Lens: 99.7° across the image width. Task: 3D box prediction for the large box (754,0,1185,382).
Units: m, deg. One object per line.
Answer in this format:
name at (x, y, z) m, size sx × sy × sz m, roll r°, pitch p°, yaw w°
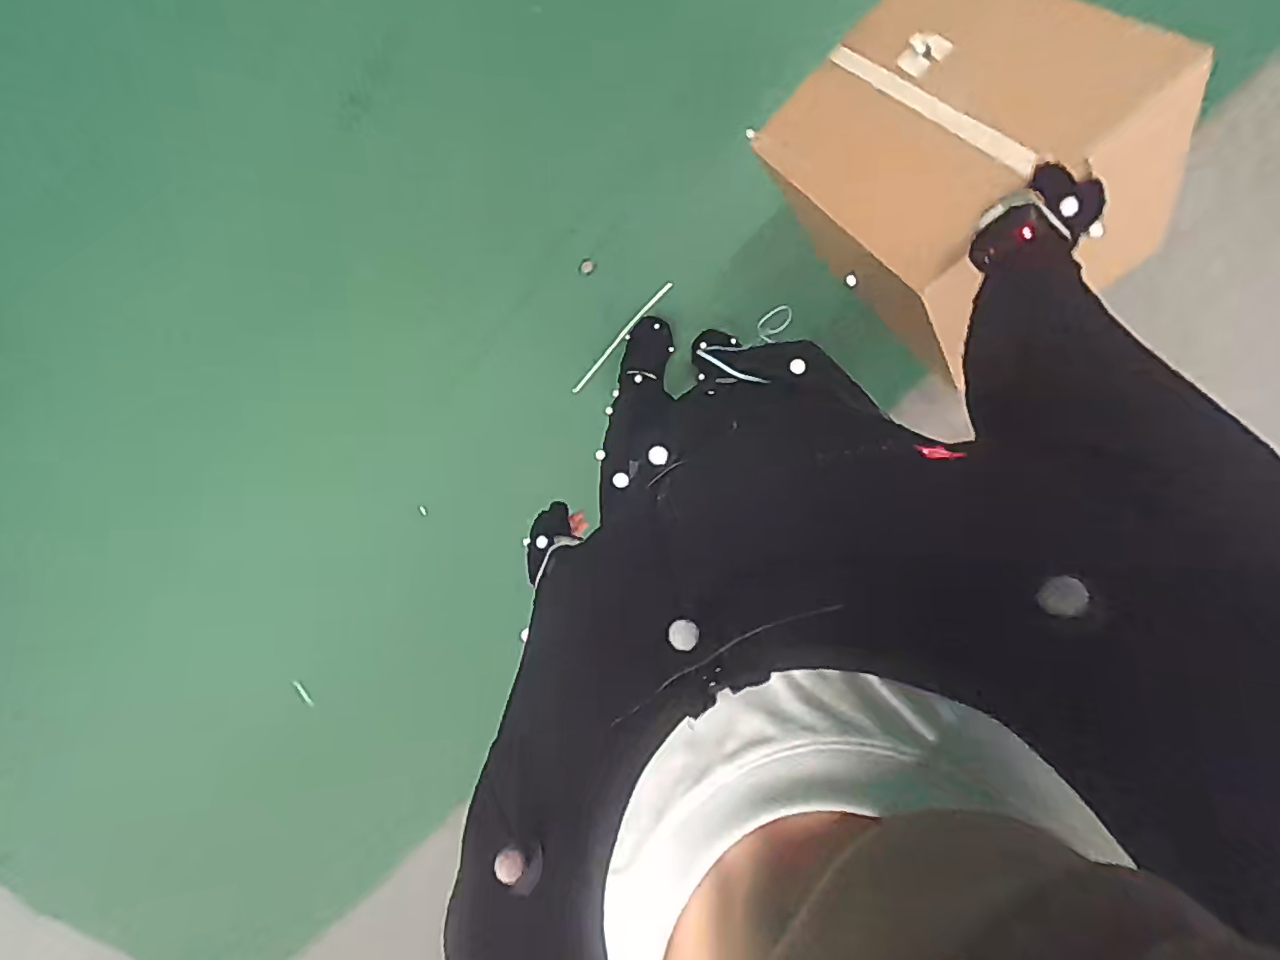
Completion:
large box at (0.450, -0.424, 0.803) m, size 0.320 × 0.408 × 0.320 m, roll -40°, pitch 144°, yaw 20°
